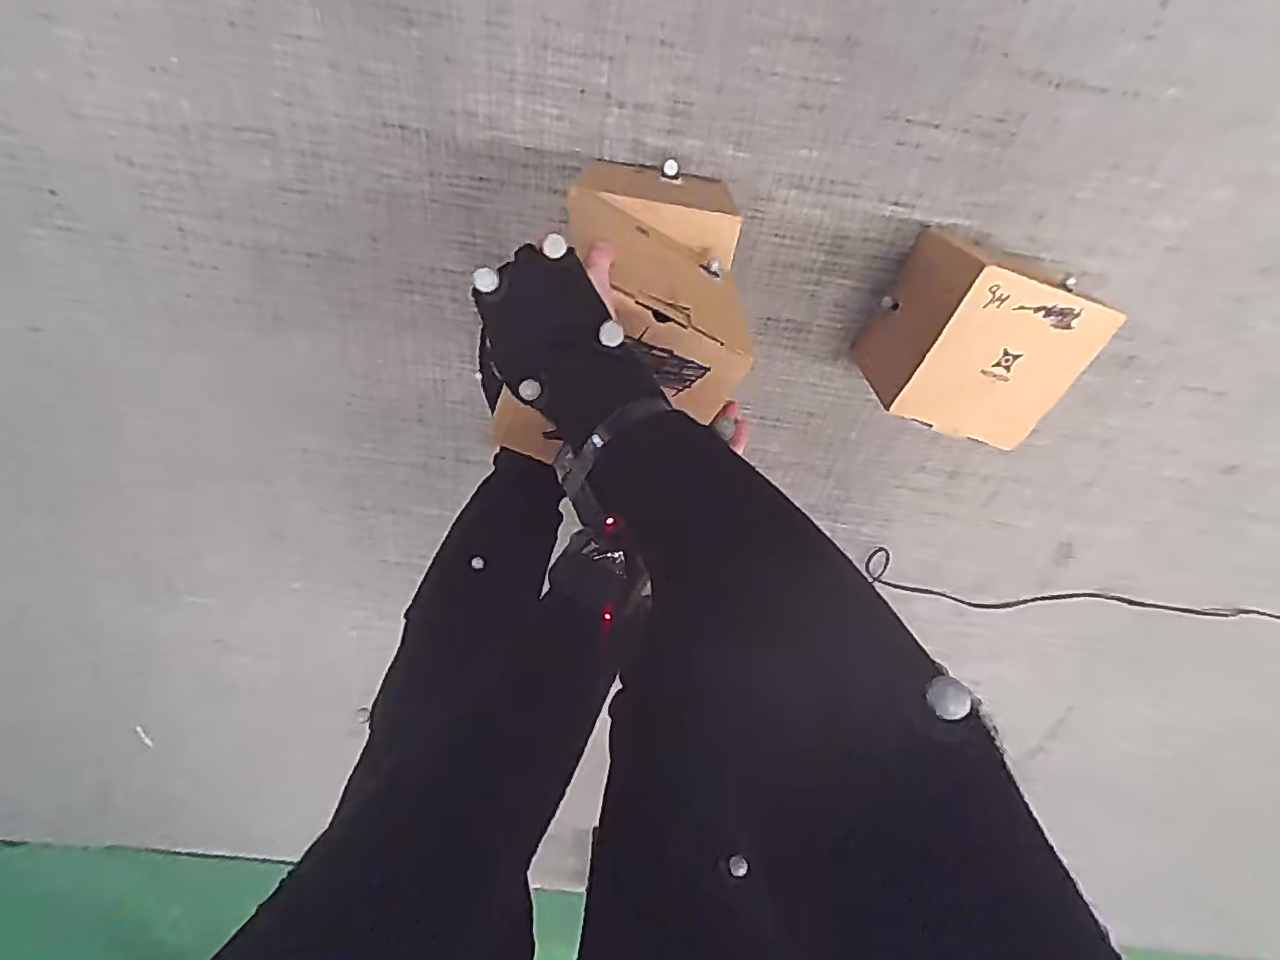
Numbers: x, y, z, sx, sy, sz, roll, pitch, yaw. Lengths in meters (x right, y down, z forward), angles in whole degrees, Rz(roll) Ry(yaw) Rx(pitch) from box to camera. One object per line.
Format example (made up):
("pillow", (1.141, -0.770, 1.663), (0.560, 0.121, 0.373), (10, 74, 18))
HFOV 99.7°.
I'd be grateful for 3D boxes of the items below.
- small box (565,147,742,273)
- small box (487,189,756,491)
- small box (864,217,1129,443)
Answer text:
("small box", (0.007, -0.250, 0.605), (0.168, 0.176, 0.179), (8, 128, -4))
("small box", (-0.019, -0.127, 0.494), (0.168, 0.176, 0.179), (22, 132, -17))
("small box", (0.388, -0.178, 0.635), (0.168, 0.176, 0.179), (16, 128, -8))
